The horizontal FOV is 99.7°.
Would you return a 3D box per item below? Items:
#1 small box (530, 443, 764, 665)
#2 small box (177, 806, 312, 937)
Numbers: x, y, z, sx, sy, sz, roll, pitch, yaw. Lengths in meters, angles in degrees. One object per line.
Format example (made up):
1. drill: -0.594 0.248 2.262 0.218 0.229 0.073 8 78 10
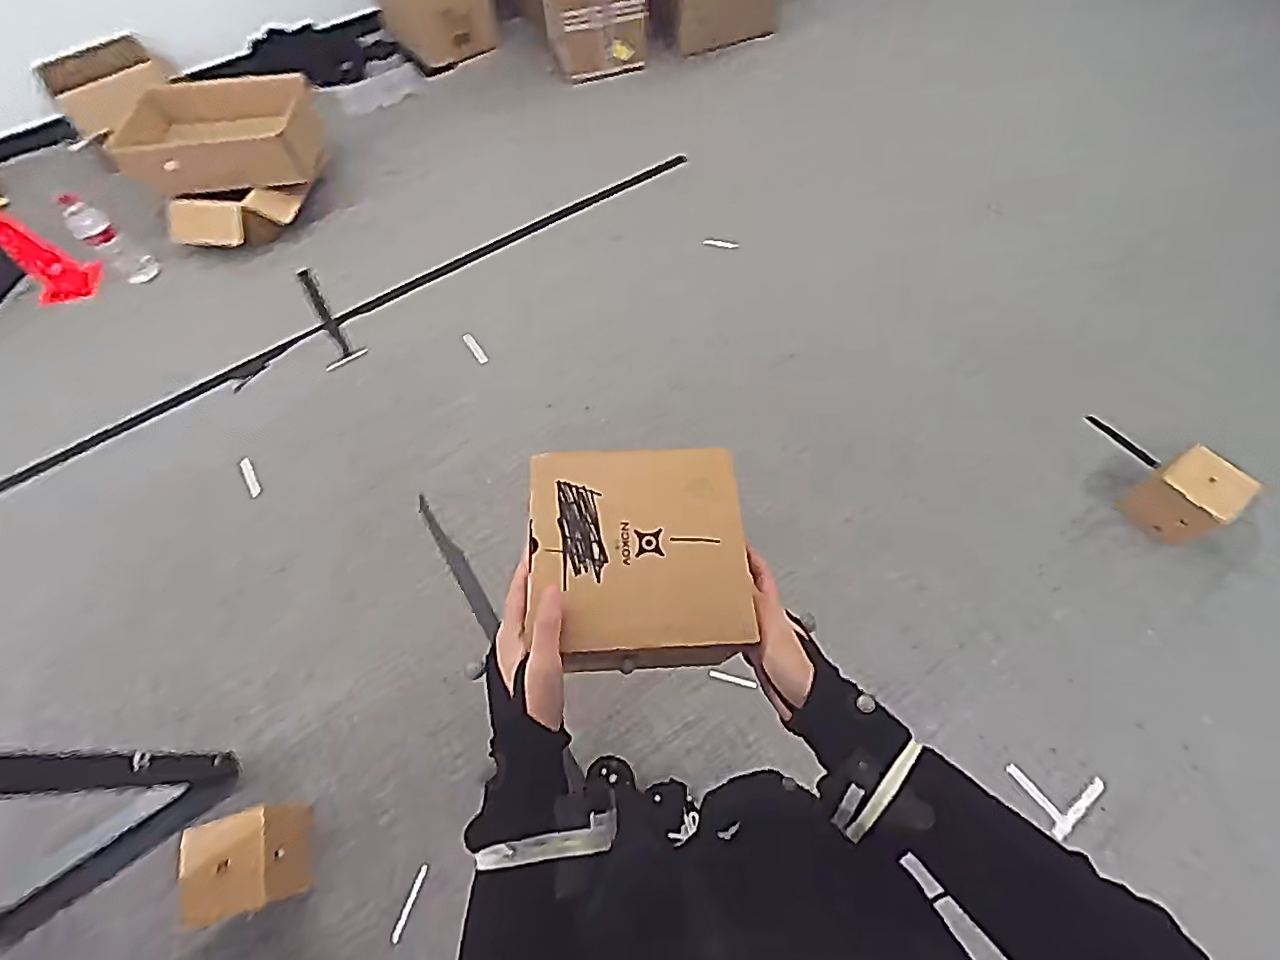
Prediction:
1. small box: 0.001 0.077 0.502 0.179 0.176 0.168 -1 66 -4
2. small box: -0.822 0.809 1.141 0.168 0.176 0.179 -17 65 -7
